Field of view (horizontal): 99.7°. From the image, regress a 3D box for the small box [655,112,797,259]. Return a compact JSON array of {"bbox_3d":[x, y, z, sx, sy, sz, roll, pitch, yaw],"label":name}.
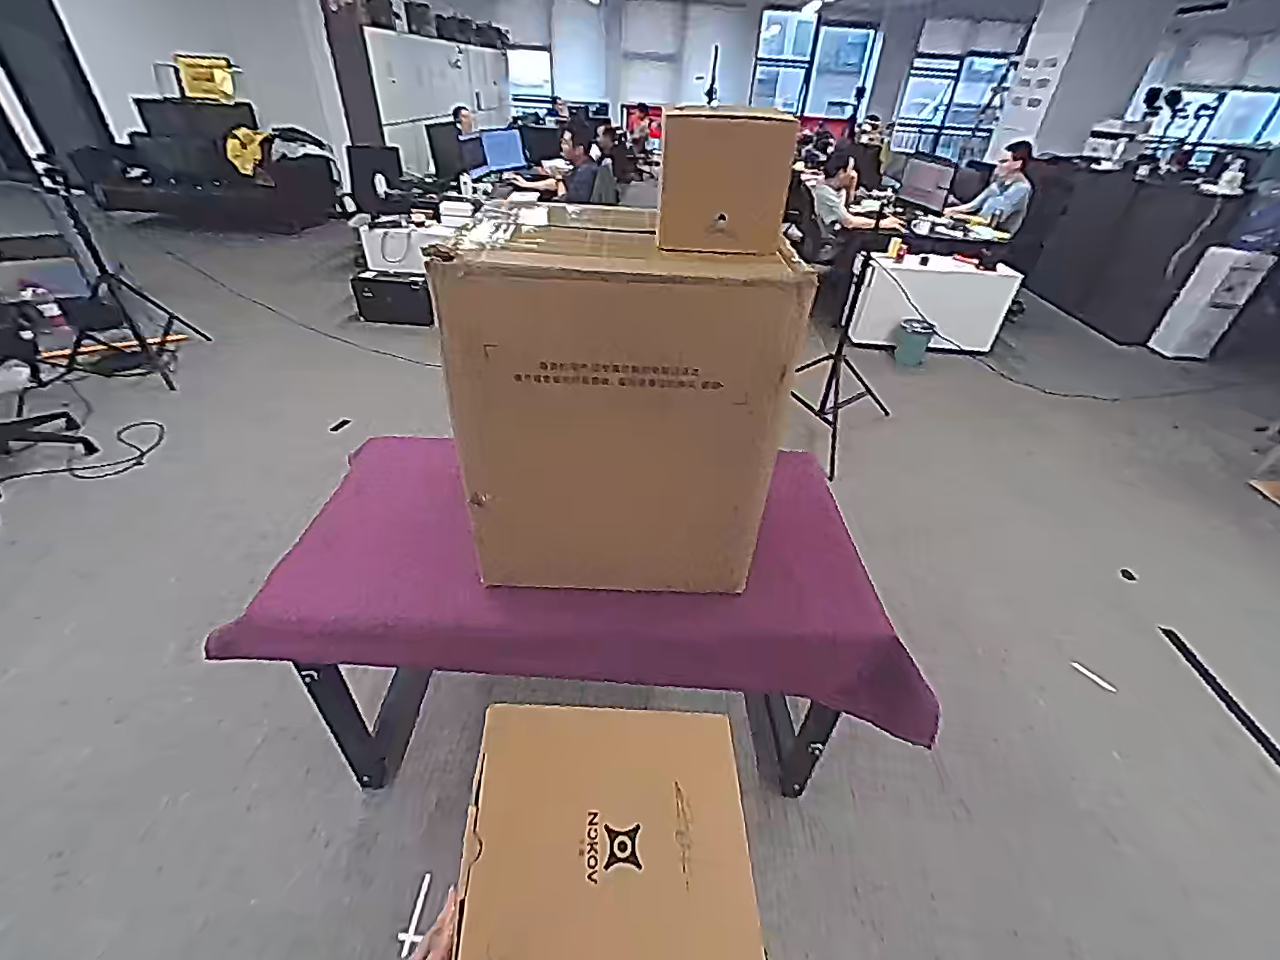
[{"bbox_3d":[0.117,-0.440,0.811,0.179,0.176,0.168,3,37,-1],"label":"small box"}]
